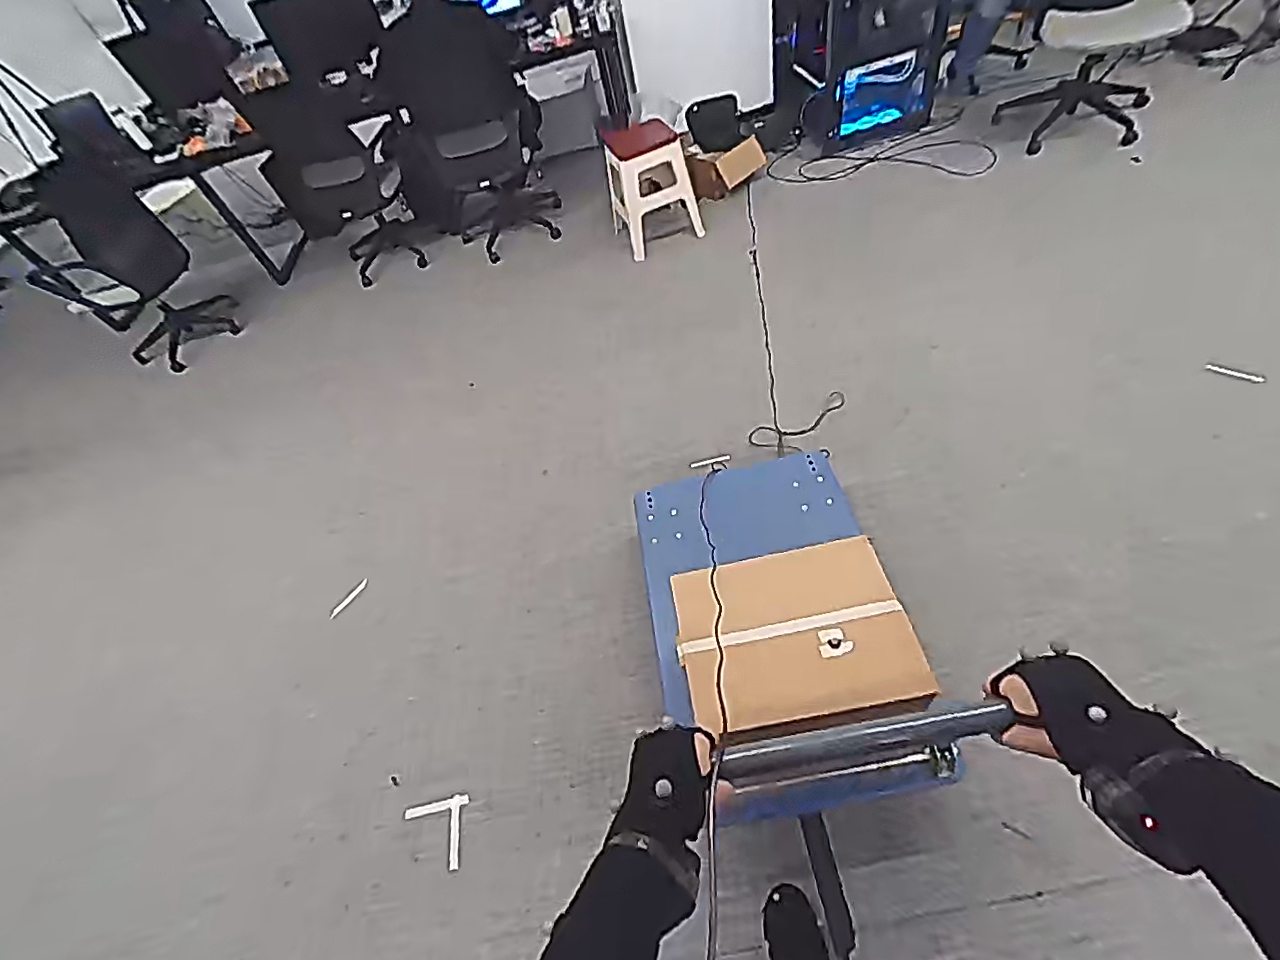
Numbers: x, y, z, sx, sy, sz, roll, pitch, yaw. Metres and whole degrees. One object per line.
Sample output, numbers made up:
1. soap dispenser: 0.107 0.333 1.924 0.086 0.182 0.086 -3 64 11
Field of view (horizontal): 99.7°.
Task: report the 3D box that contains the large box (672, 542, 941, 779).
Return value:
1. large box: 0.302 0.371 1.088 0.408 0.320 0.320 -13 51 4
